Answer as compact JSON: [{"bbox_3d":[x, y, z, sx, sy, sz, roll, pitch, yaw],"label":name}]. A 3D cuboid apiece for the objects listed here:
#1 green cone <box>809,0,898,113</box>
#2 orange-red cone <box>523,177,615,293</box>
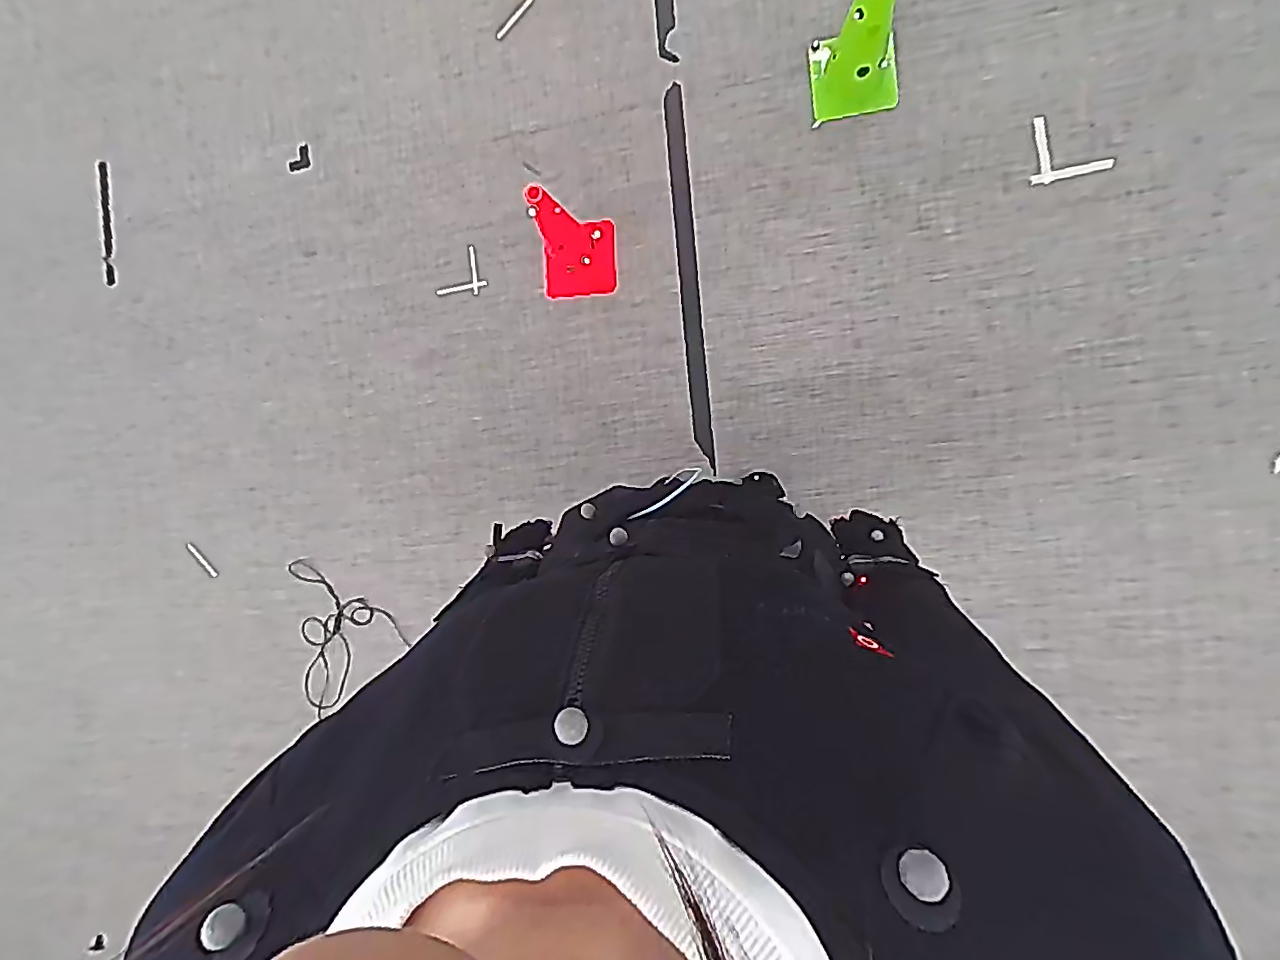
[{"bbox_3d":[0.499,-1.012,1.163,0.202,0.368,0.200,-5,90,9],"label":"green cone"},{"bbox_3d":[-0.196,-0.609,1.294,0.199,0.360,0.198,-1,89,11],"label":"orange-red cone"}]
